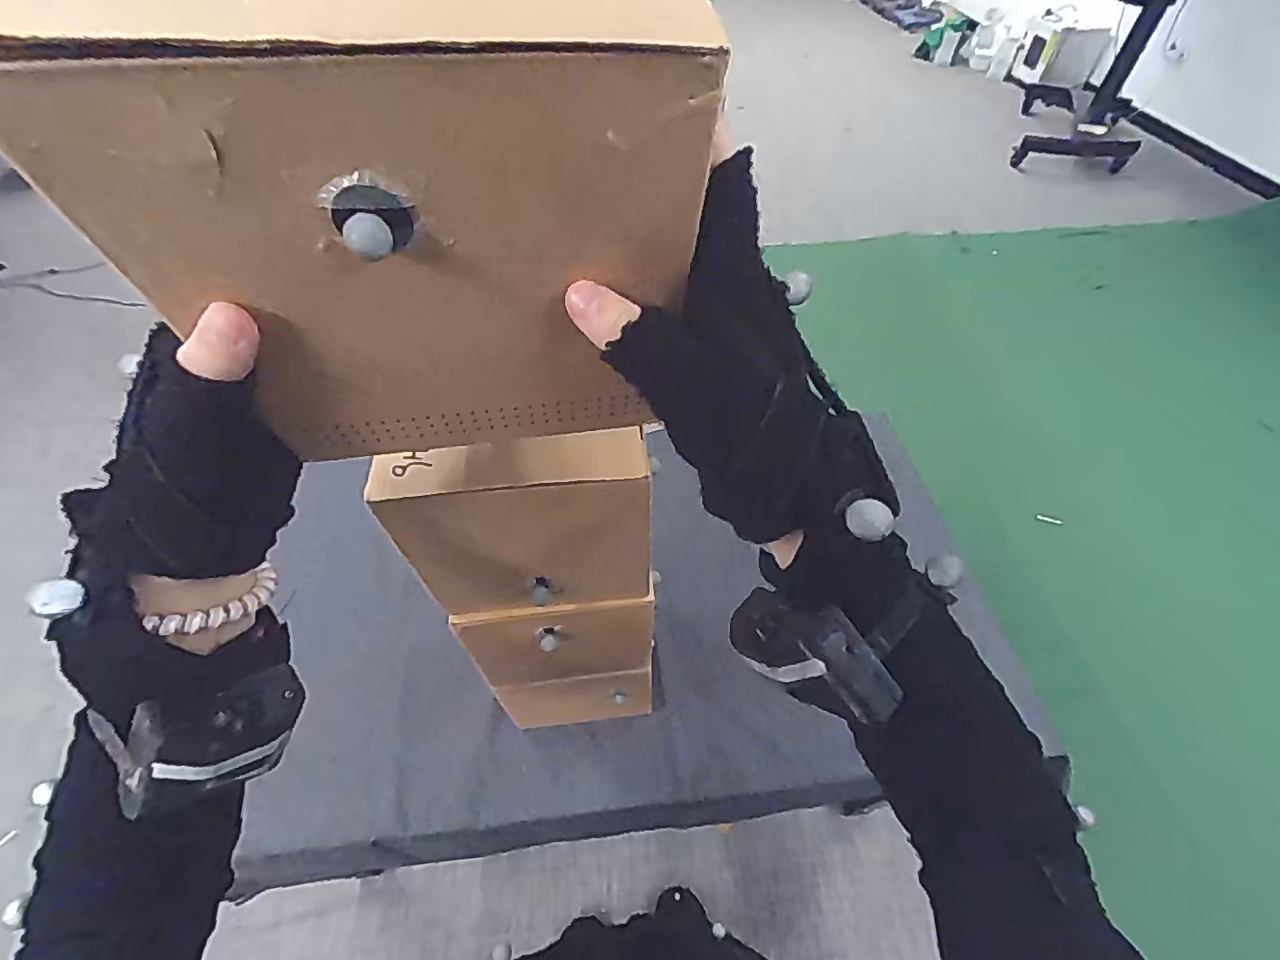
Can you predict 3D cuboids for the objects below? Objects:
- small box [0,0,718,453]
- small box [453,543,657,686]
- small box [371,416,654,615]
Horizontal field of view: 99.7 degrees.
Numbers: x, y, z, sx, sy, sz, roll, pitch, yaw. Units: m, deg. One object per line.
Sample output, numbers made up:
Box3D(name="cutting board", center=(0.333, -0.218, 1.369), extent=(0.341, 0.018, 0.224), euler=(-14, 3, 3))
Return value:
Box3D(name="small box", center=(-0.080, -0.125, 0.239), extent=(0.179, 0.176, 0.168), euler=(-7, 62, -8))
Box3D(name="small box", center=(-0.081, 0.104, 0.571), extent=(0.179, 0.176, 0.168), euler=(-6, 52, -4))
Box3D(name="small box", center=(-0.085, -0.003, 0.445), extent=(0.179, 0.176, 0.168), euler=(-4, 50, -3))
